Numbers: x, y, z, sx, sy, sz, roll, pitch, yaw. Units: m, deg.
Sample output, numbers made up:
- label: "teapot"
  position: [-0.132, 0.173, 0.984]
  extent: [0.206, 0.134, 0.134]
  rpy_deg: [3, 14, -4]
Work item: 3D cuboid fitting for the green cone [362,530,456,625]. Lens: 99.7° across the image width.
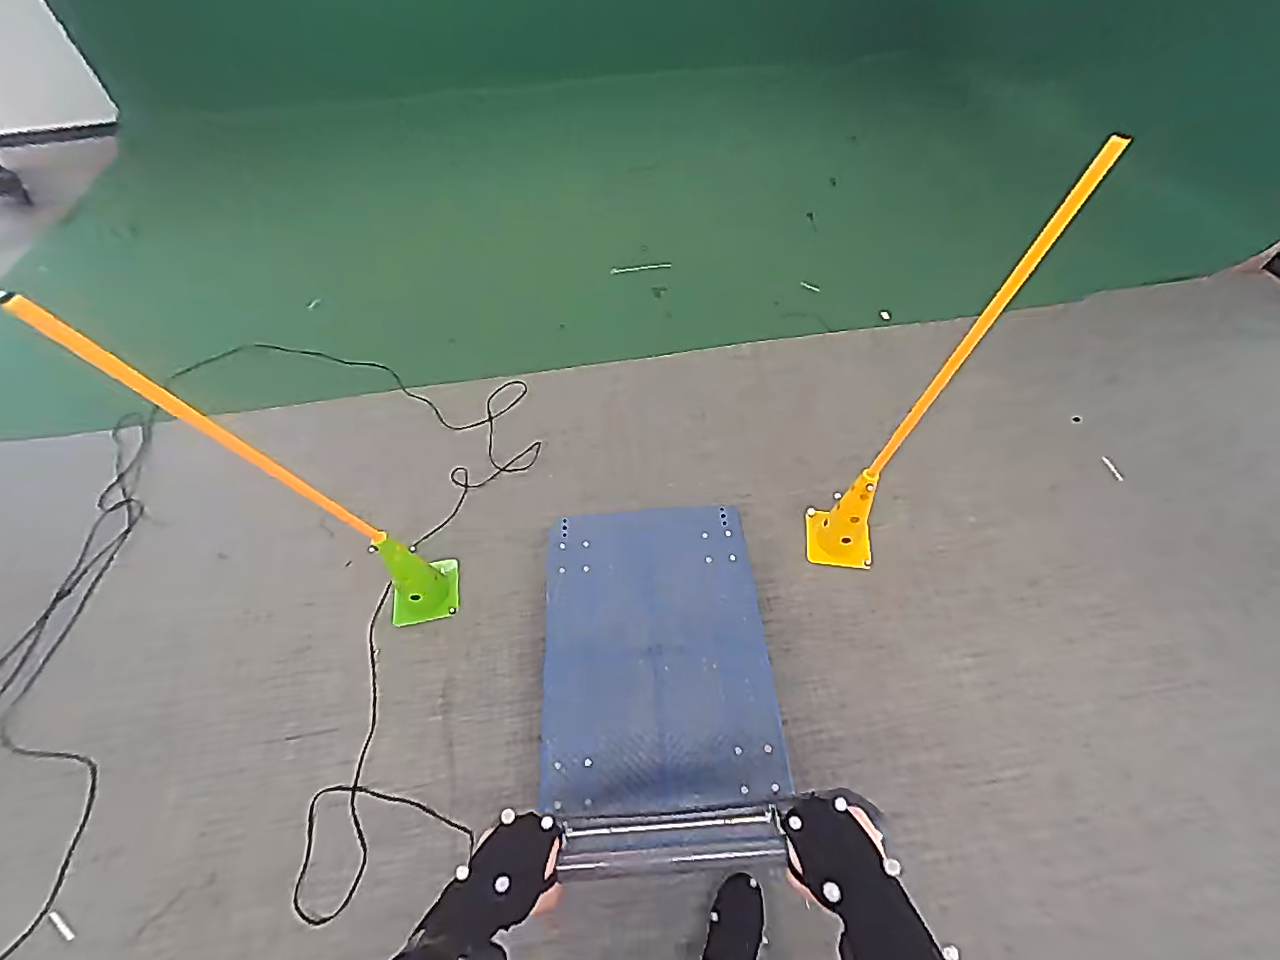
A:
- label: "green cone"
  position: [-0.692, 0.246, 1.559]
  extent: [0.202, 0.368, 0.200]
  rpy_deg: [-12, 54, -4]
